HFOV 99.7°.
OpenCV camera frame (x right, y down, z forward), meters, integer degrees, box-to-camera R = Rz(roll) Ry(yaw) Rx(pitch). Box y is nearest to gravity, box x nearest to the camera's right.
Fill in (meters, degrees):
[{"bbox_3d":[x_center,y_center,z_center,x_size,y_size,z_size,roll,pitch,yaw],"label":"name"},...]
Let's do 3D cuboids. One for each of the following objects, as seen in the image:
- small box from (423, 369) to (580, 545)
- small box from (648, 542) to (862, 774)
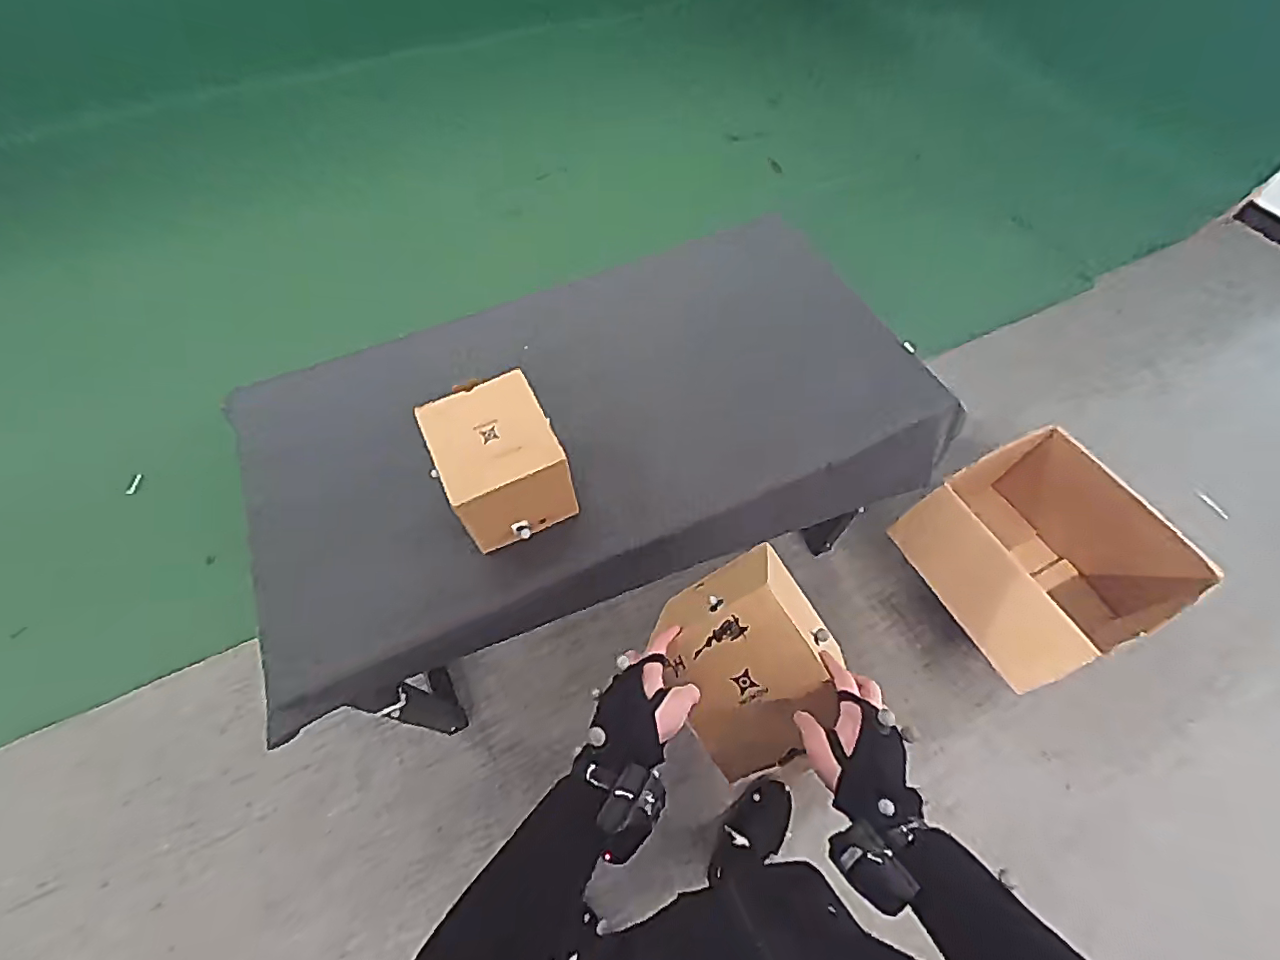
[{"bbox_3d":[-0.203,-0.031,0.823,0.168,0.176,0.179,-25,63,-13],"label":"small box"},{"bbox_3d":[0.138,0.202,0.654,0.168,0.176,0.179,-34,91,16],"label":"small box"}]
